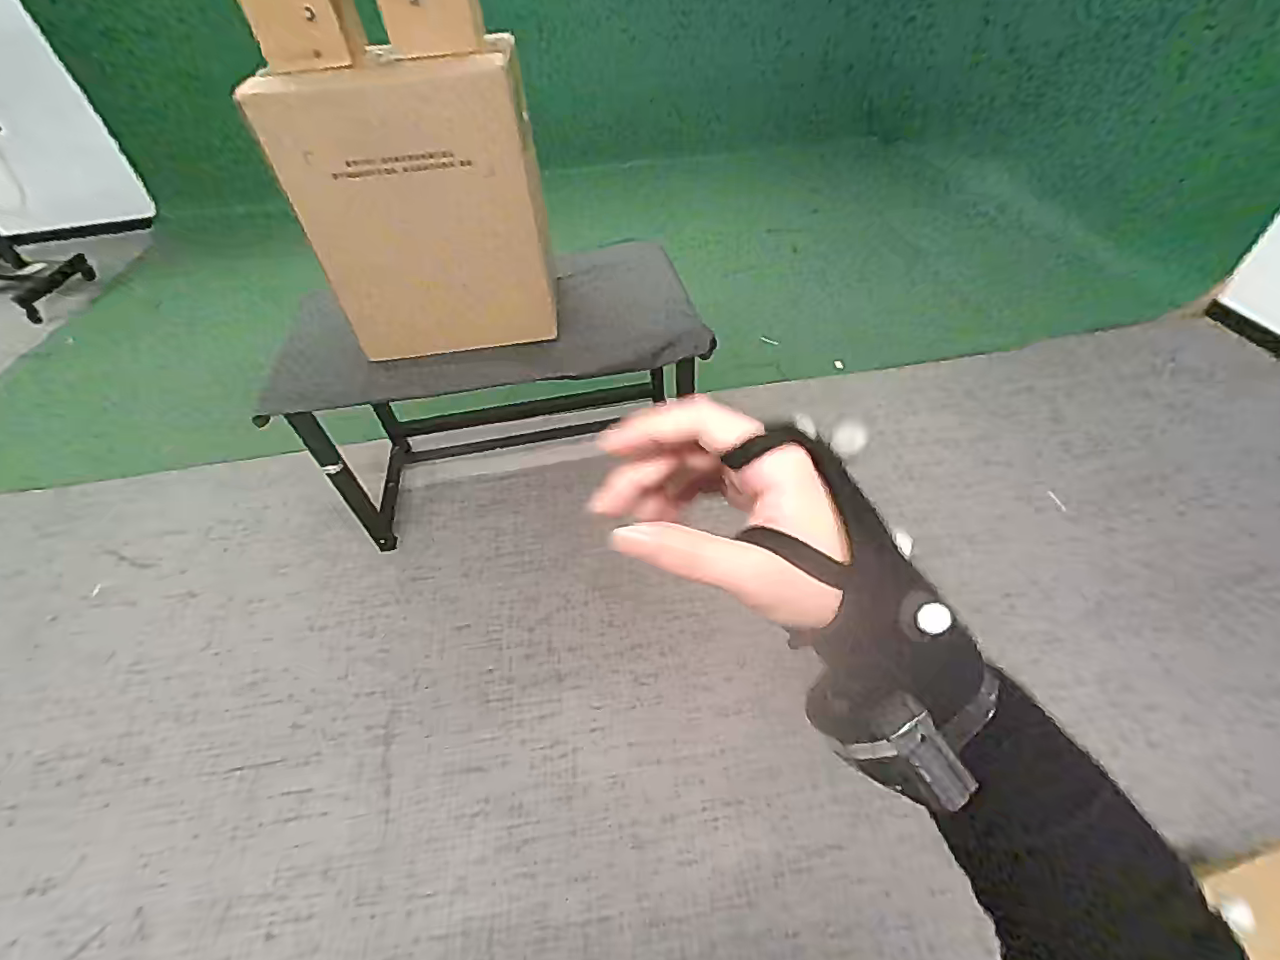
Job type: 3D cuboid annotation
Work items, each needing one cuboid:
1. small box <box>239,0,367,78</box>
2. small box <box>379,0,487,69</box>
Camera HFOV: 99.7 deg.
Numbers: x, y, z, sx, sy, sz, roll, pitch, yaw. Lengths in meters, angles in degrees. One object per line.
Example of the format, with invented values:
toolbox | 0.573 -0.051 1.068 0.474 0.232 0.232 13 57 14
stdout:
small box | -0.689 -0.948 1.116 0.168 0.176 0.179 -7 47 -5
small box | -0.435 -0.983 1.130 0.179 0.176 0.168 -7 49 -2
